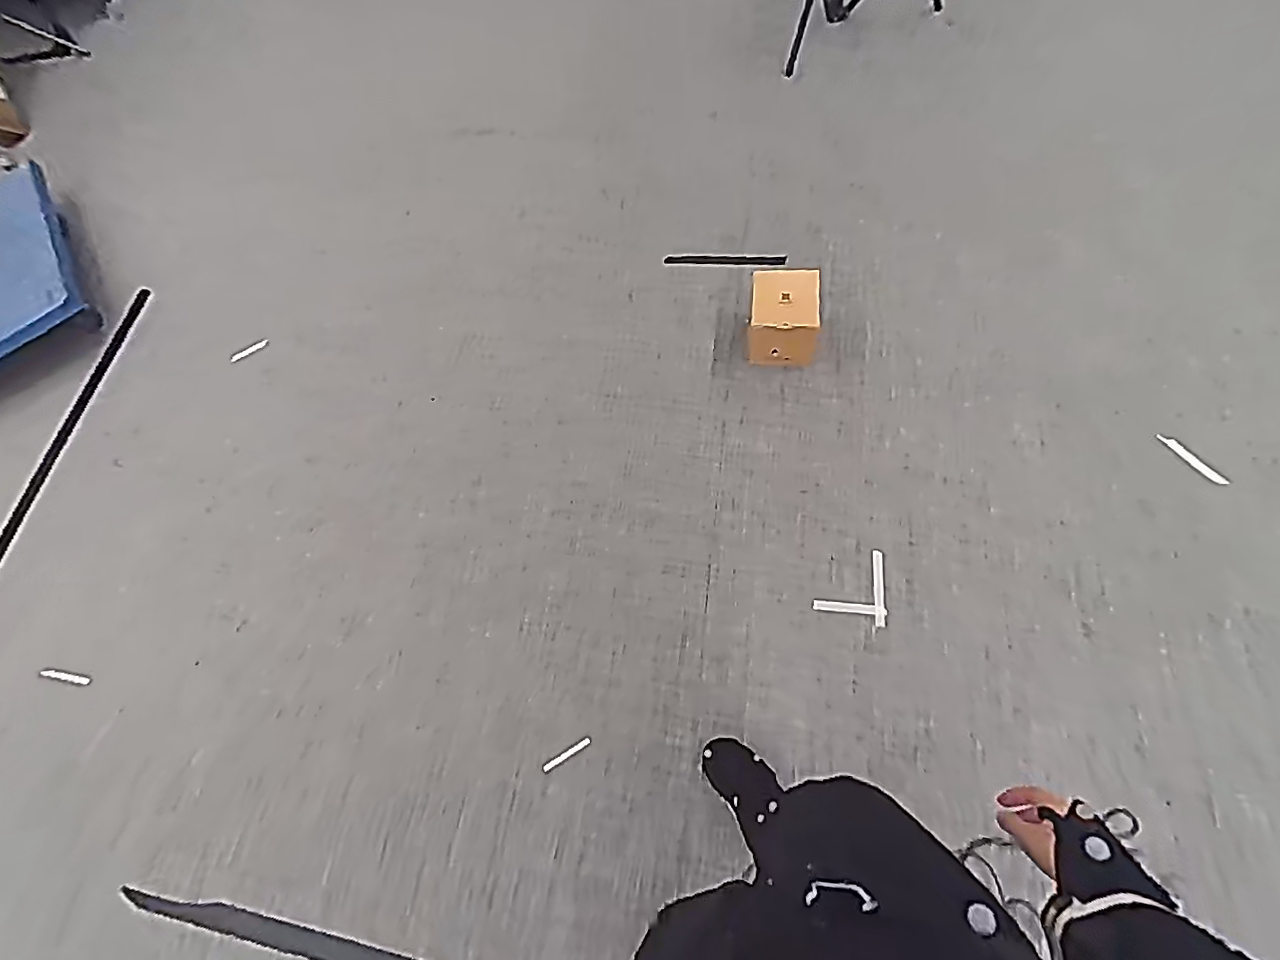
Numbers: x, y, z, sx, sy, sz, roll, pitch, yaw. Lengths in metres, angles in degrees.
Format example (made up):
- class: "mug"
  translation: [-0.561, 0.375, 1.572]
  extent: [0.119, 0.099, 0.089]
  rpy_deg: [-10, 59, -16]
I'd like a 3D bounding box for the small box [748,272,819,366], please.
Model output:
- class: "small box"
  translation: [0.375, -0.424, 1.434]
  extent: [0.168, 0.176, 0.179]
  rpy_deg: [3, 71, 8]
